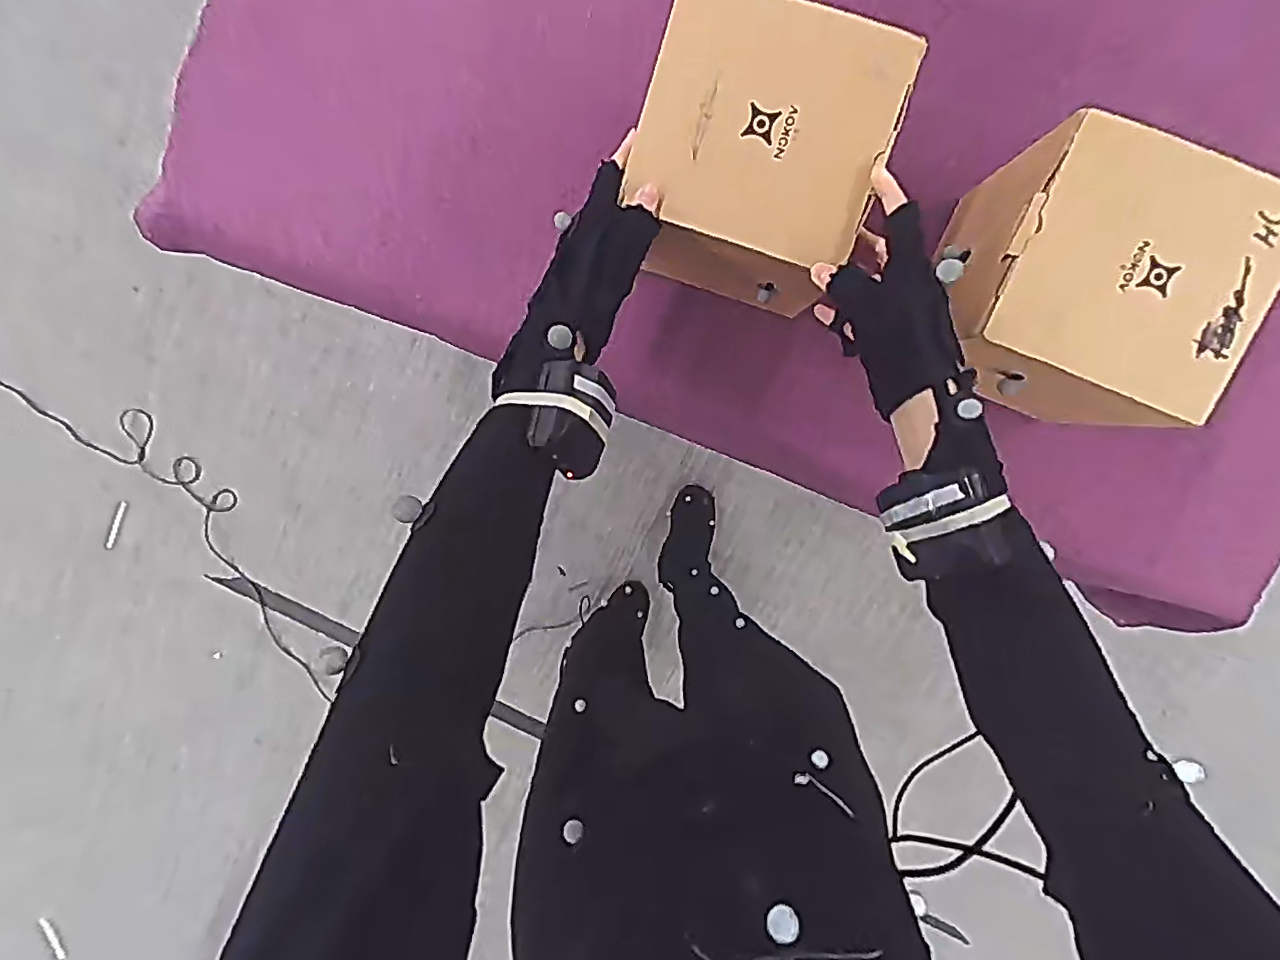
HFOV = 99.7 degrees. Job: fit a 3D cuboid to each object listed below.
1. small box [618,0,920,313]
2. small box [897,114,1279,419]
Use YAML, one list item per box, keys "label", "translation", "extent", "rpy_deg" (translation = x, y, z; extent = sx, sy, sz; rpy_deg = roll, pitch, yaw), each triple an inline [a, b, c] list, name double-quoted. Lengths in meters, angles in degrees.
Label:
- label: "small box"
  translation: [0.094, -0.255, 0.464]
  extent: [0.179, 0.176, 0.168]
  rpy_deg: [17, 96, 2]
- label: "small box"
  translation: [0.355, -0.156, 0.459]
  extent: [0.179, 0.176, 0.168]
  rpy_deg: [22, 98, 2]
